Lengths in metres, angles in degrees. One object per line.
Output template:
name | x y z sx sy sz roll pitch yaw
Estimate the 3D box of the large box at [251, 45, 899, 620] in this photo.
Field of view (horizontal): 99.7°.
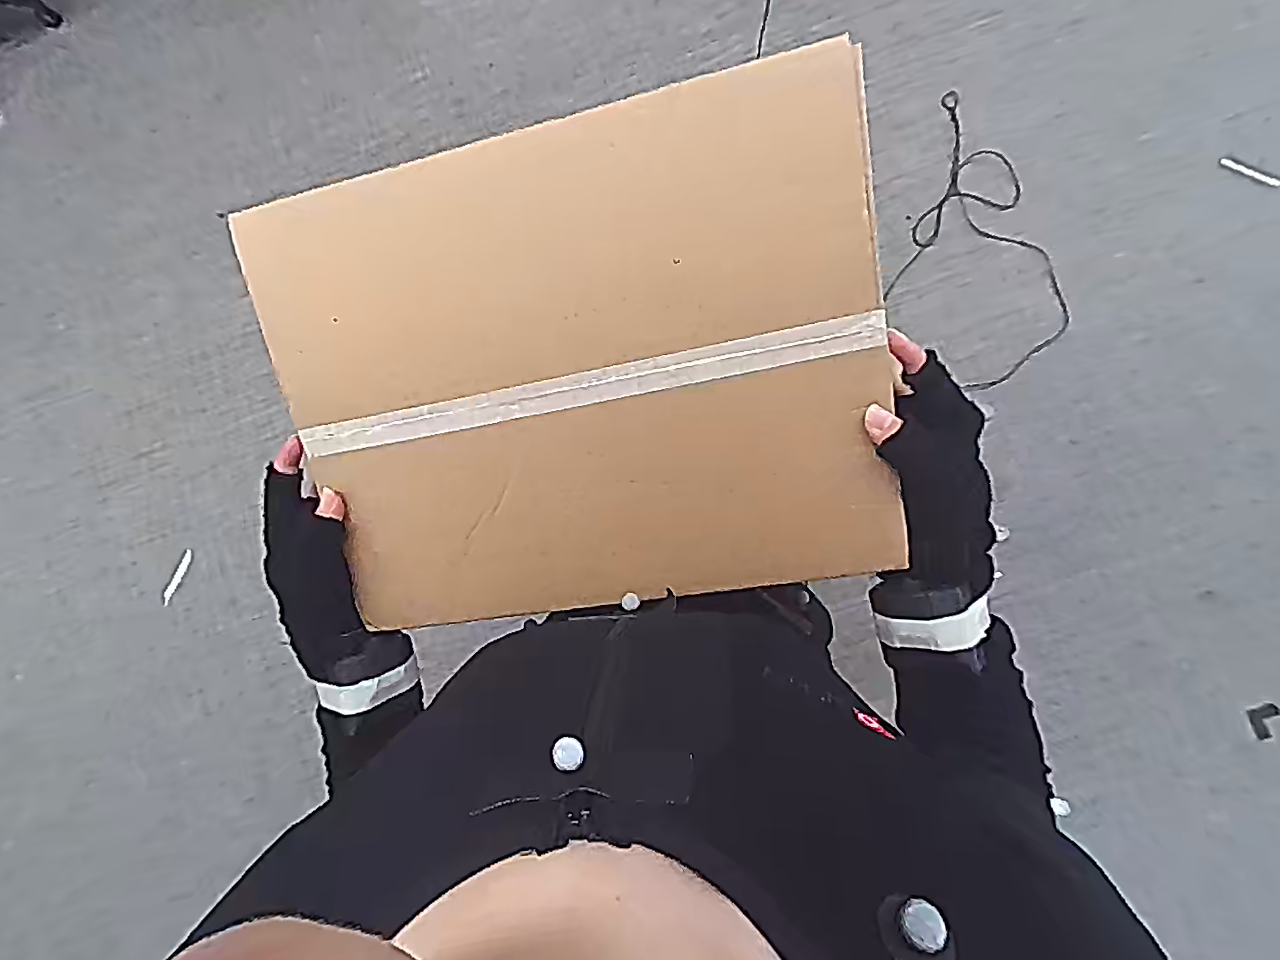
large box | -0.025 -0.103 0.510 0.408 0.320 0.320 -9 102 11
